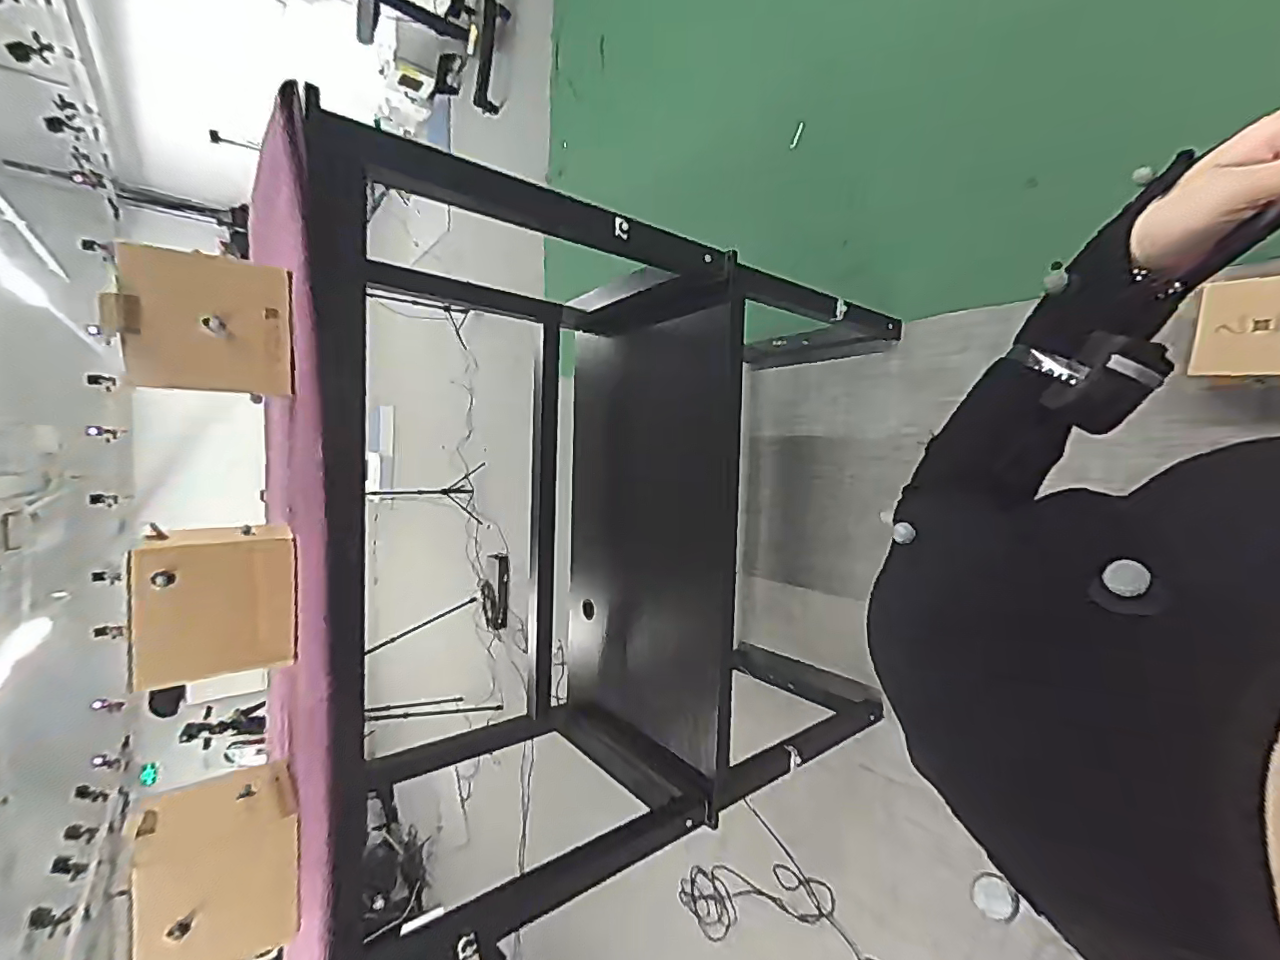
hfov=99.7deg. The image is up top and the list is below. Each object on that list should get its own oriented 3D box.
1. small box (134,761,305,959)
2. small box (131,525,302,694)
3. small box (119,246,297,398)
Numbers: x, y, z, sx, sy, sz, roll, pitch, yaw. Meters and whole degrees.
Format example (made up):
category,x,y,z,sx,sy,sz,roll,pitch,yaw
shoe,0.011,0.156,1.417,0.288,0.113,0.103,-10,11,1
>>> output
category,x,y,z,sx,sy,sz,roll,pitch,yaw
small box,-0.565,0.524,0.738,0.168,0.176,0.179,3,93,51
small box,-0.567,0.161,0.742,0.168,0.176,0.179,4,93,54
small box,-0.565,-0.200,0.727,0.179,0.176,0.168,16,105,53
